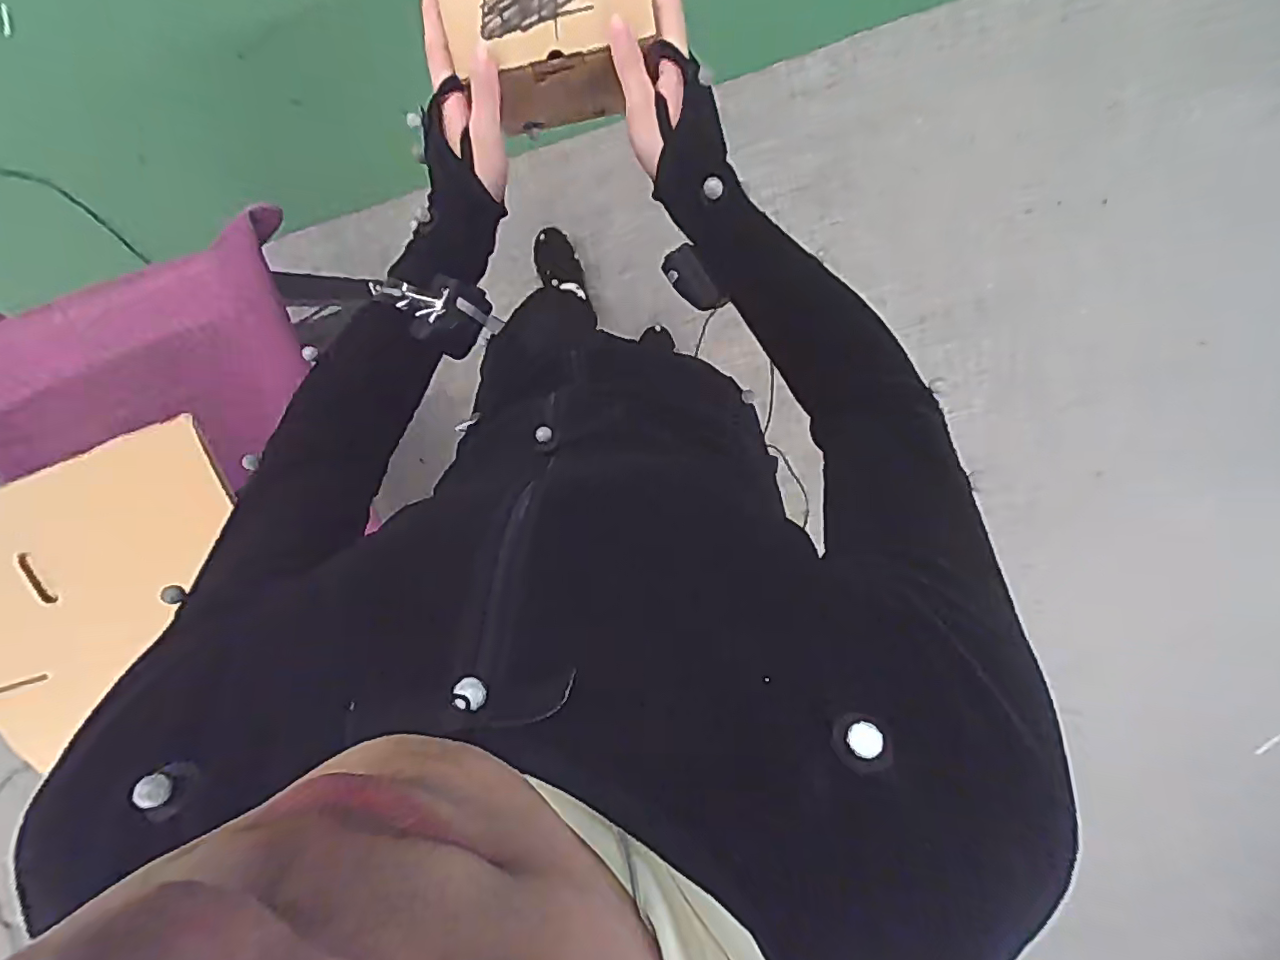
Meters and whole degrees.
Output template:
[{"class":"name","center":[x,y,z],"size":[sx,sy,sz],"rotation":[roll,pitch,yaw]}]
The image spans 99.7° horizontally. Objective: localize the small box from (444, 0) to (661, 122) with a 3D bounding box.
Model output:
[{"class":"small box","center":[-0.072,-0.437,0.469],"size":[0.168,0.176,0.179],"rotation":[-9,109,4]}]
